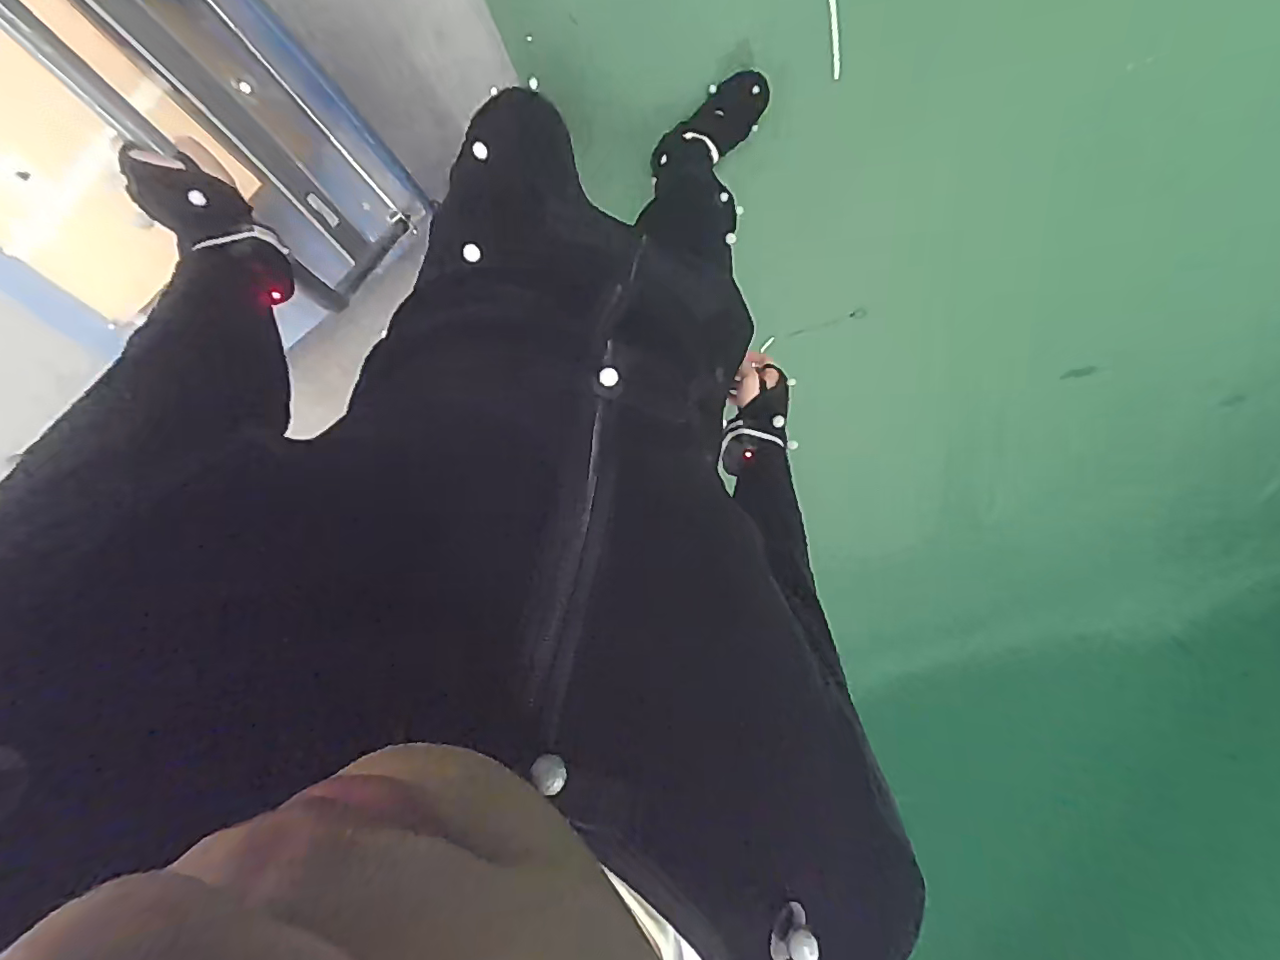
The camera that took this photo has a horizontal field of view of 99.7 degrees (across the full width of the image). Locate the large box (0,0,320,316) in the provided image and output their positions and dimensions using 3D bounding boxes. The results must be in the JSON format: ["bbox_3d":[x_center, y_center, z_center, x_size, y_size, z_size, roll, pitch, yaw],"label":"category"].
[{"bbox_3d":[-0.859,-0.576,0.938,0.408,0.320,0.320,-31,127,16],"label":"large box"}]
